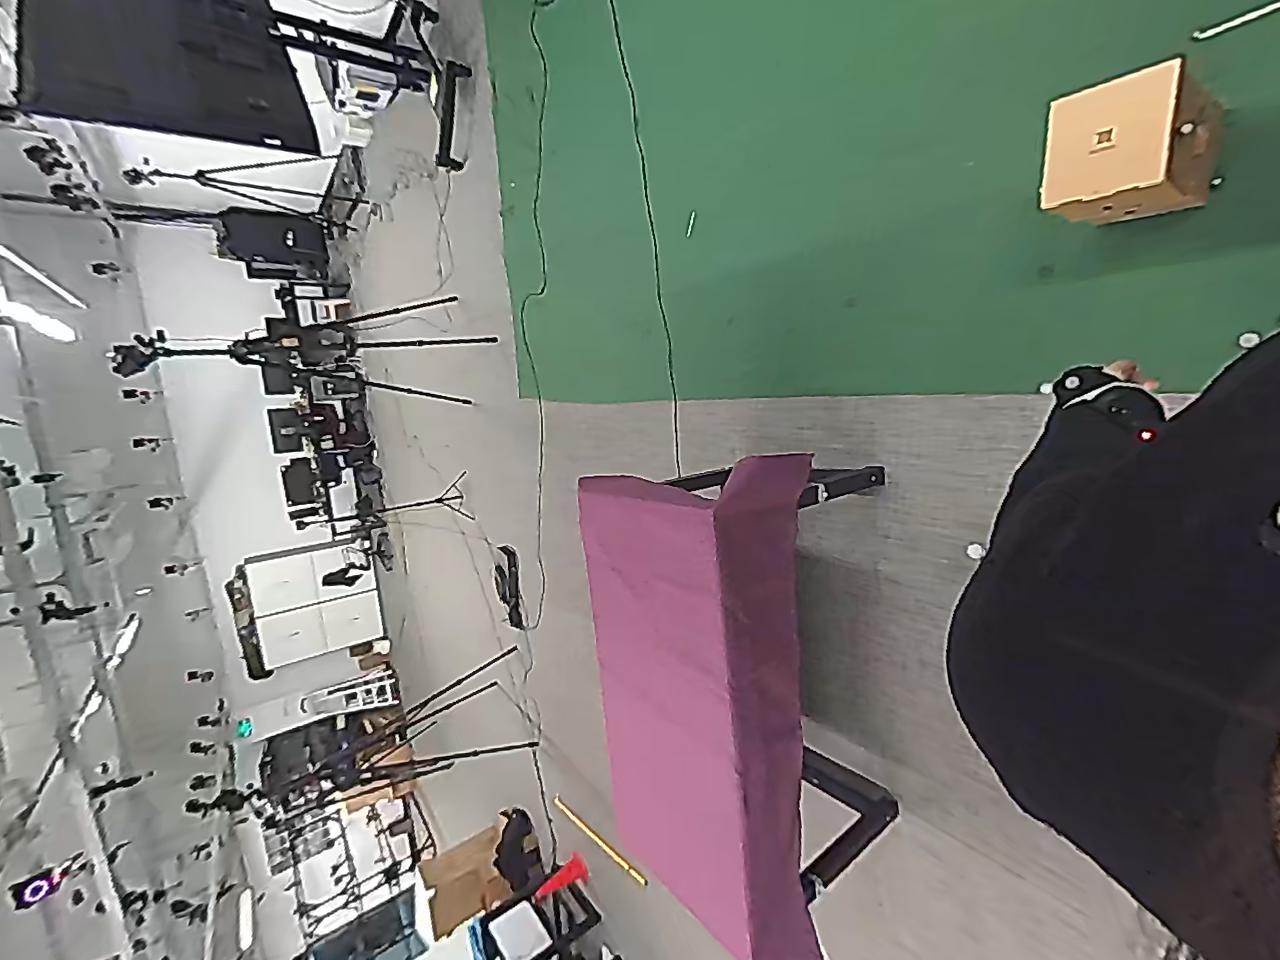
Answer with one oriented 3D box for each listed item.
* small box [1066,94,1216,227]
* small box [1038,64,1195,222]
[{"bbox_3d":[0.960,-0.599,1.037,0.179,0.176,0.168,13,109,54],"label":"small box"},{"bbox_3d":[0.830,-0.570,0.943,0.168,0.176,0.179,13,110,53],"label":"small box"}]
